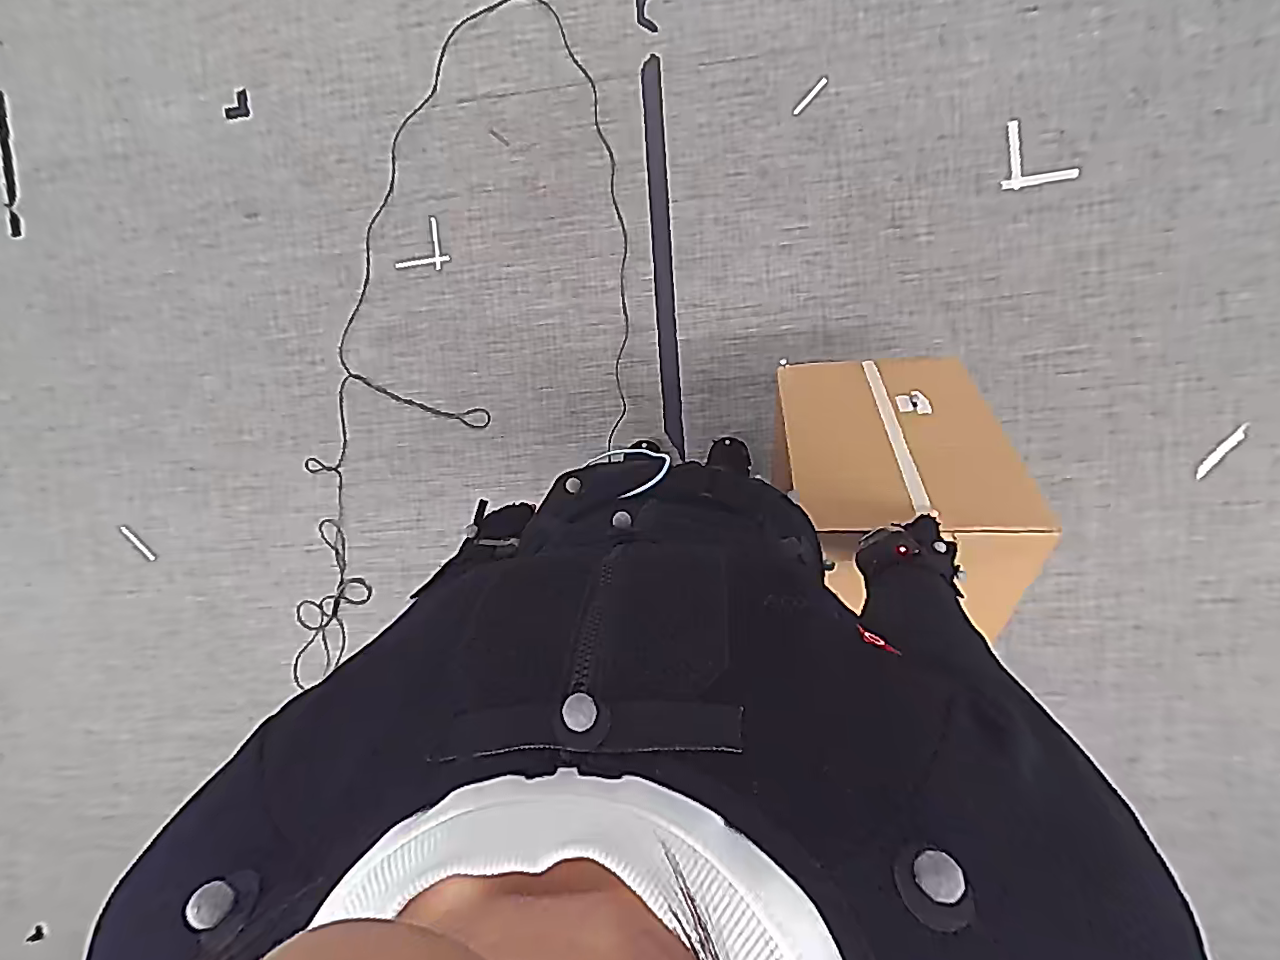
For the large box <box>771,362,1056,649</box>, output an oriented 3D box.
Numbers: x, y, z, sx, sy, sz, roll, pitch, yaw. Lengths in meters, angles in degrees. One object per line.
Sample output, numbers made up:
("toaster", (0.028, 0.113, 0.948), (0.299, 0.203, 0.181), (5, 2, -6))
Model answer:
("large box", (0.407, 0.038, 0.939), (0.320, 0.408, 0.320), (0, 133, 7))
